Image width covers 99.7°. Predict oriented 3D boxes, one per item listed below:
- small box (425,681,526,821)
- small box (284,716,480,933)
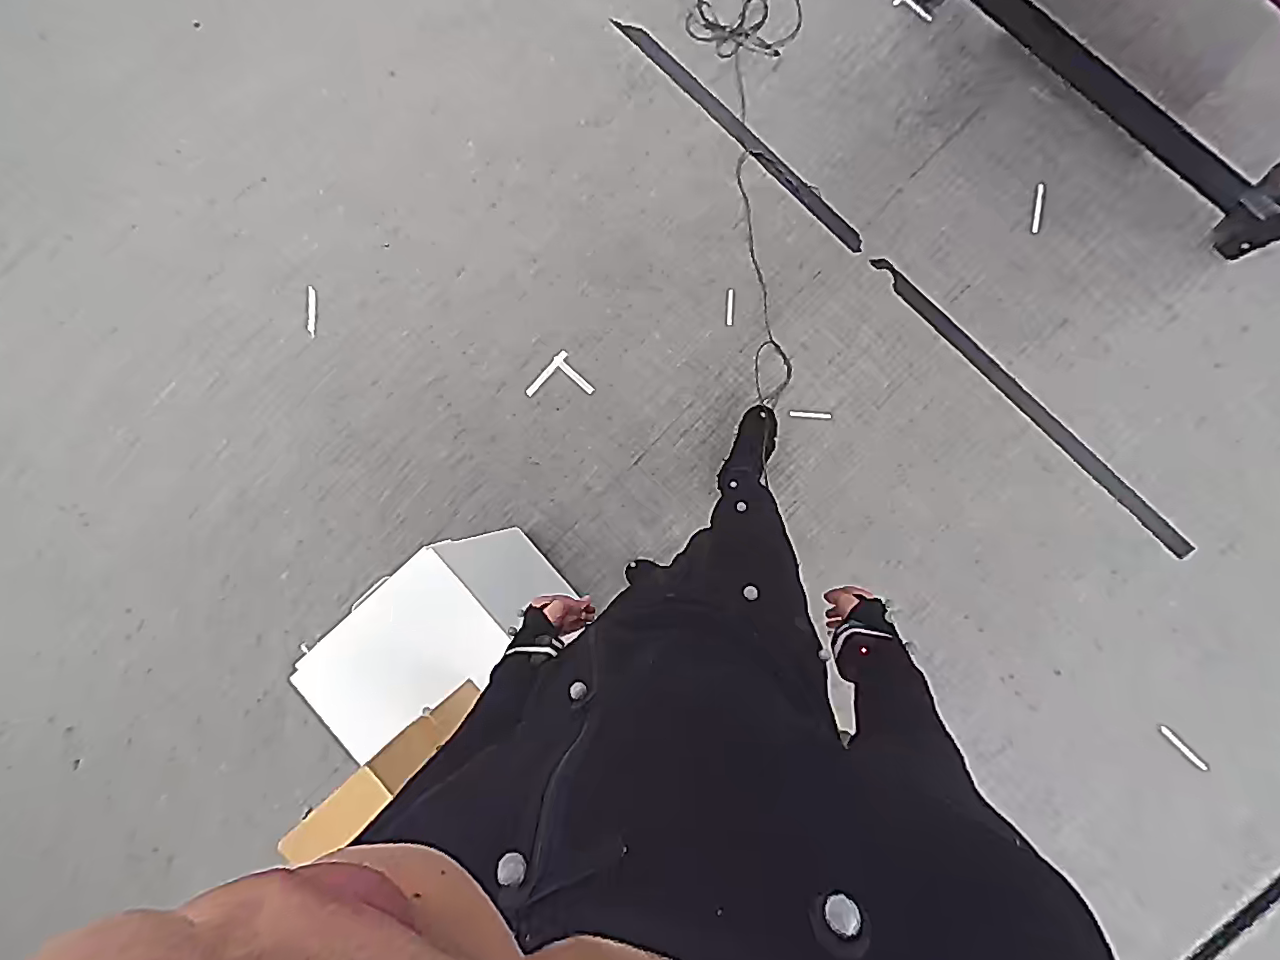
[{"bbox_3d":[-0.332,0.495,0.965,0.168,0.176,0.179,-44,85,2],"label":"small box"},{"bbox_3d":[-0.363,0.492,0.805,0.179,0.176,0.168,-43,86,3],"label":"small box"}]
